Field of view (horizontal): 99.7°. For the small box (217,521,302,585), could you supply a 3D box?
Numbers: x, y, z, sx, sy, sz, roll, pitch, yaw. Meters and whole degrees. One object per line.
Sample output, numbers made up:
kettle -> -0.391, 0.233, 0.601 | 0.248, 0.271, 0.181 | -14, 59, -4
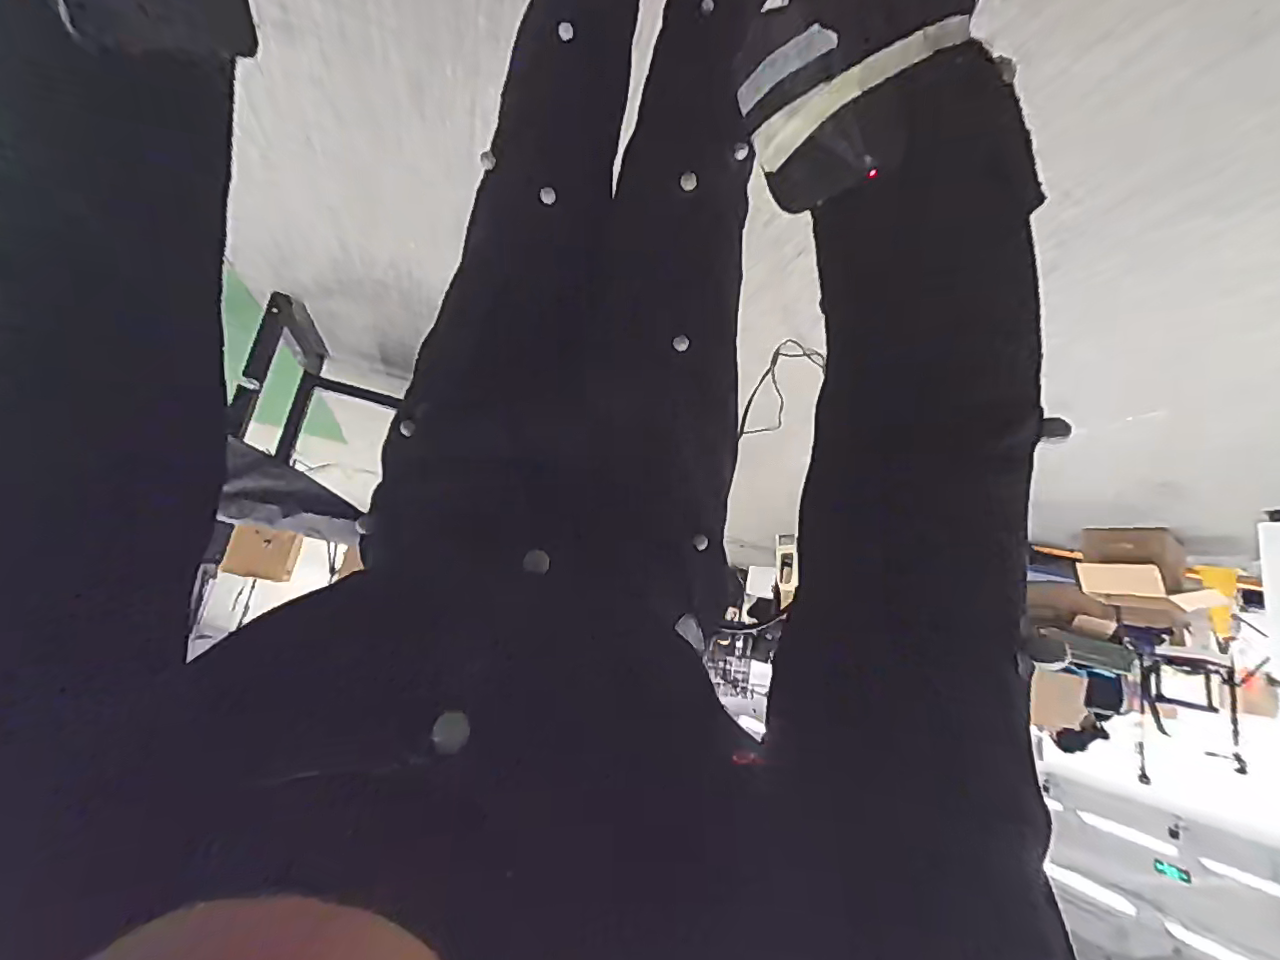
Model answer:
small box -> -1.212, 0.234, 1.738 | 0.168, 0.176, 0.179 | 16, 165, -22
